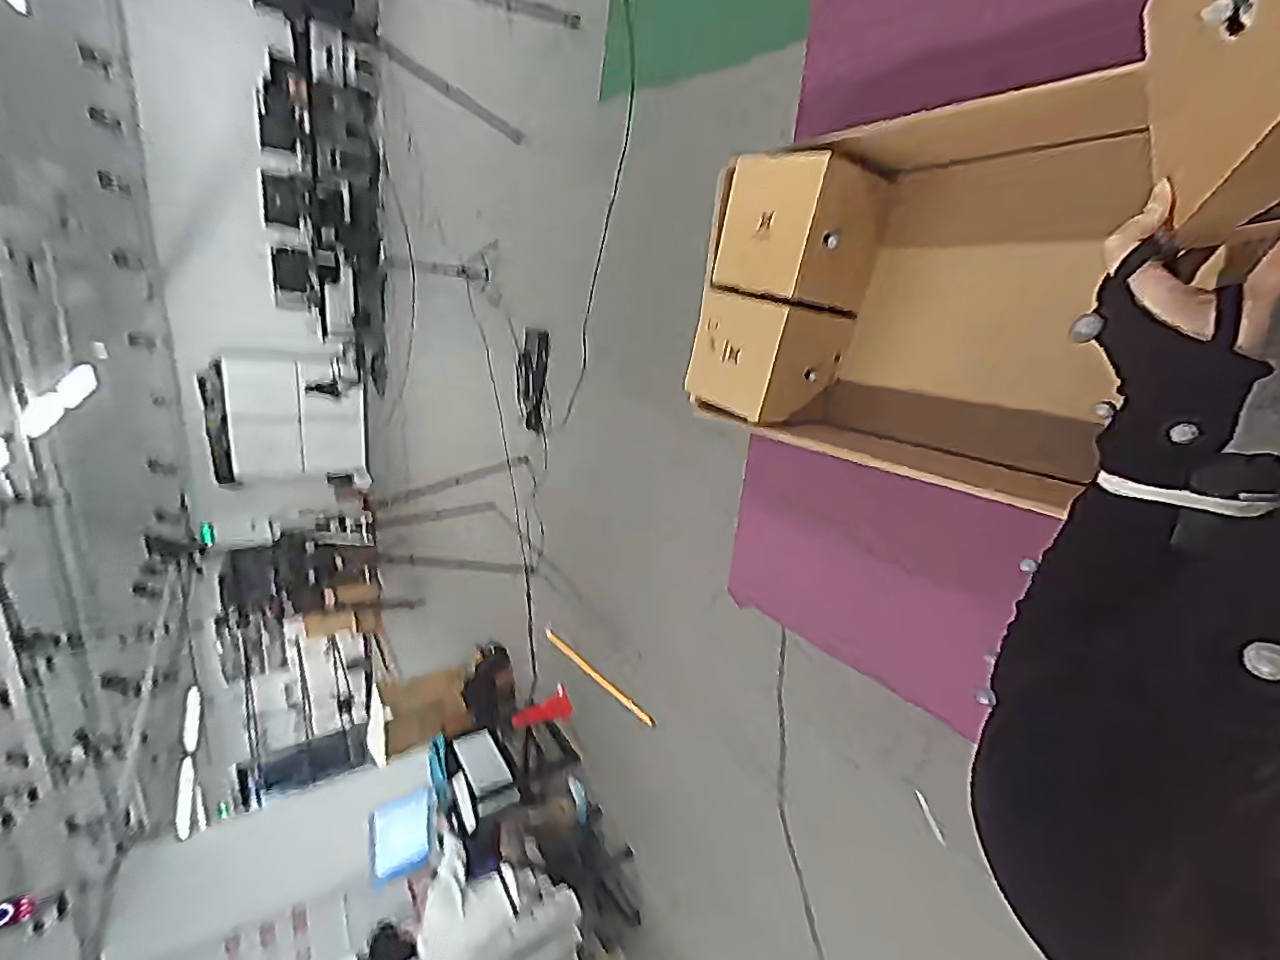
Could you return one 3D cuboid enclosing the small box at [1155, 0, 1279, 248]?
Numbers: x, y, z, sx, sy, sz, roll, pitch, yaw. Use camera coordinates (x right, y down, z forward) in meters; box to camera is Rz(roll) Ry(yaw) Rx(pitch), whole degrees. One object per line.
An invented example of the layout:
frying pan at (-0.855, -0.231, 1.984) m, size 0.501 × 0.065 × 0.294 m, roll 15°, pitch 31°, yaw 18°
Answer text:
small box at (0.370, -0.233, 0.236) m, size 0.168 × 0.179 × 0.176 m, roll 2°, pitch 83°, yaw 25°
